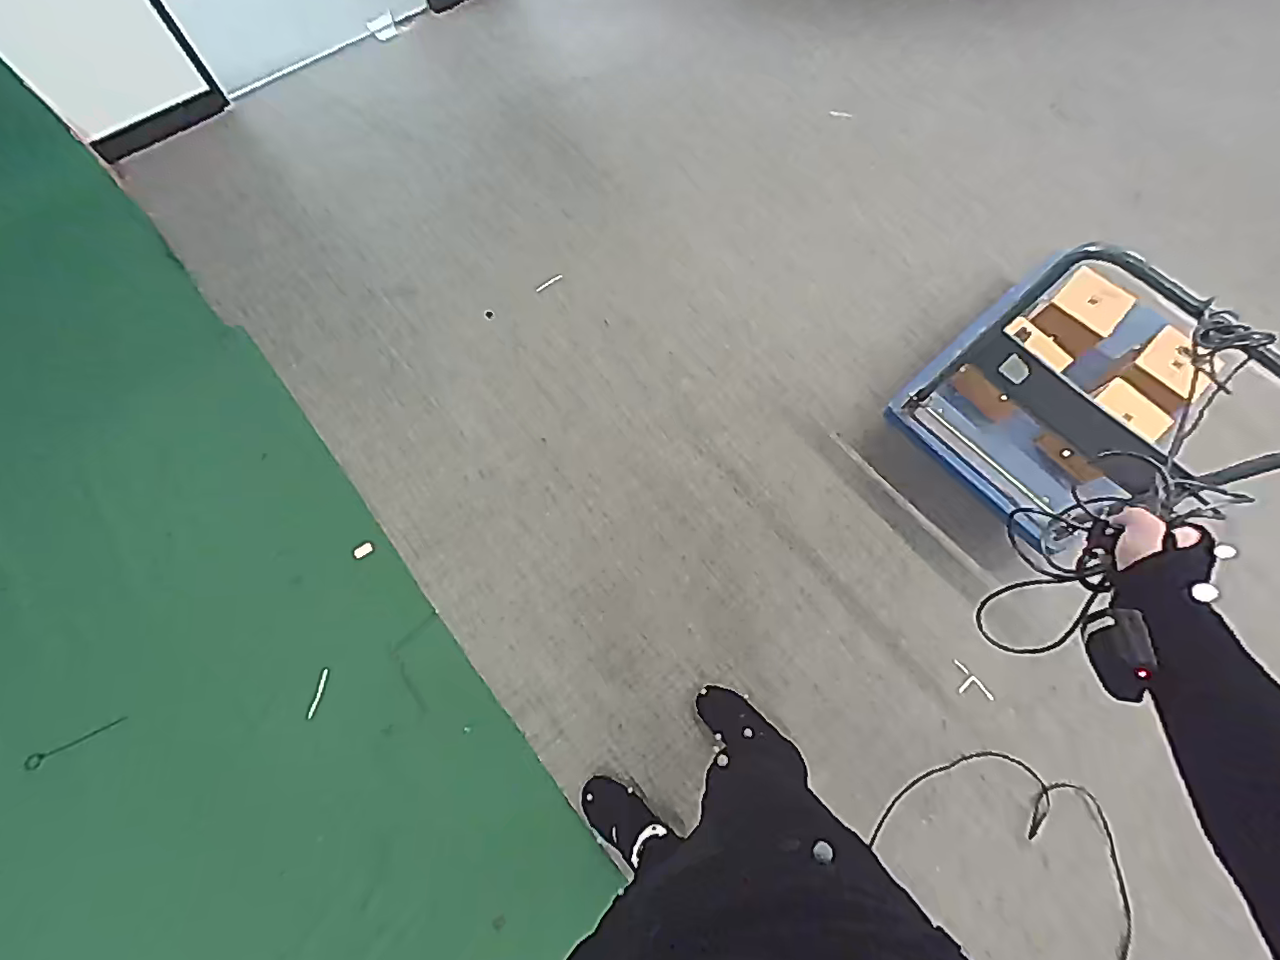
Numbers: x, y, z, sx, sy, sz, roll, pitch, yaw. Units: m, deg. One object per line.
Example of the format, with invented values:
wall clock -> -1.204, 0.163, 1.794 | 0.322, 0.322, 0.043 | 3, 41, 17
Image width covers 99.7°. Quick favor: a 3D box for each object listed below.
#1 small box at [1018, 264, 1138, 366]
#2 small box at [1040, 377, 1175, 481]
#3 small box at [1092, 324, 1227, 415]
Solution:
small box -> 1.217, -0.457, 1.521 | 0.168, 0.176, 0.179 | 44, 75, 12
small box -> 1.200, -0.127, 1.405 | 0.179, 0.176, 0.168 | -38, 75, -13
small box -> 1.388, -0.276, 1.459 | 0.179, 0.176, 0.168 | -42, 75, -13
